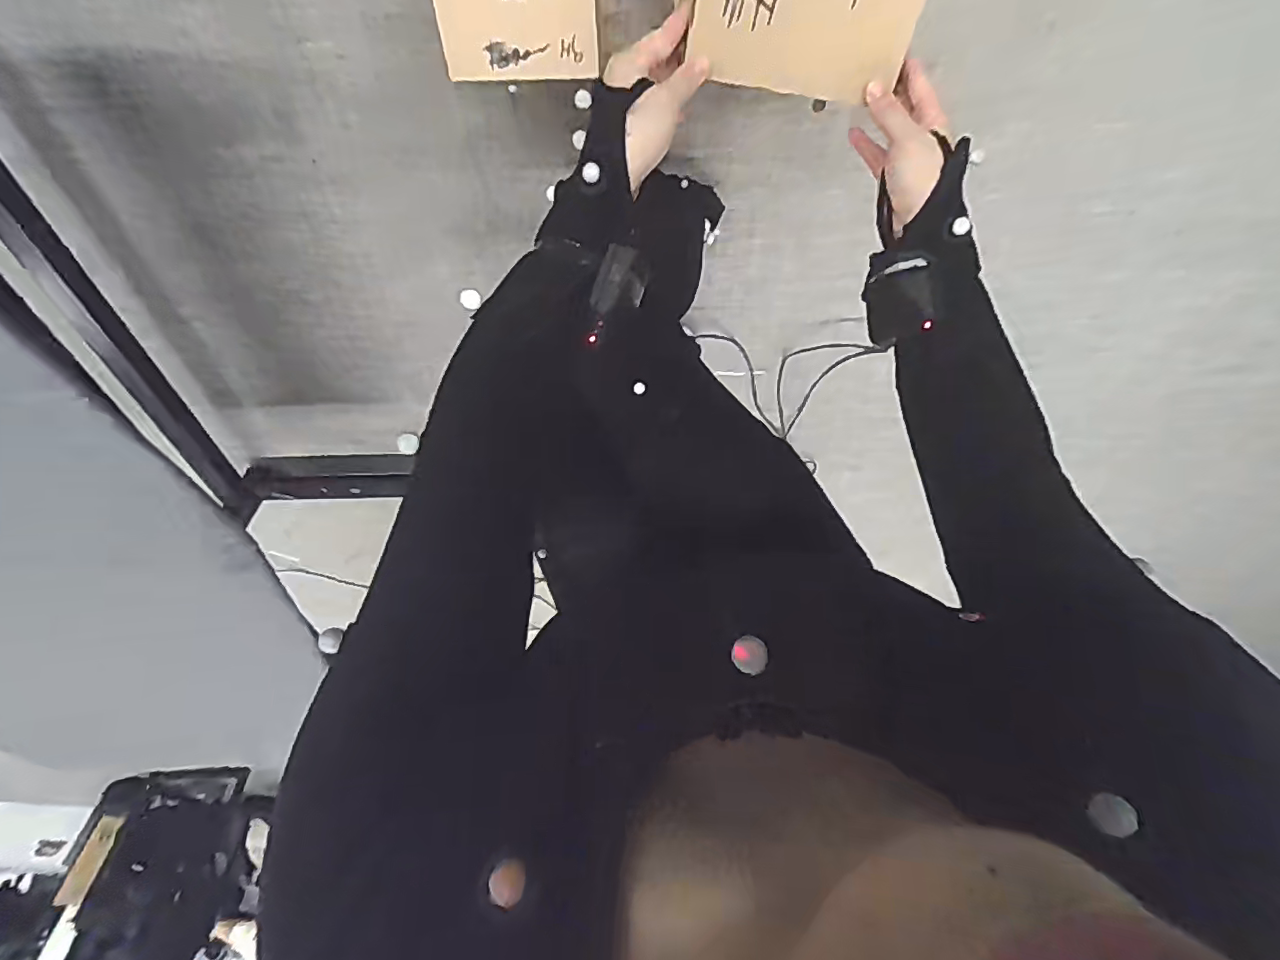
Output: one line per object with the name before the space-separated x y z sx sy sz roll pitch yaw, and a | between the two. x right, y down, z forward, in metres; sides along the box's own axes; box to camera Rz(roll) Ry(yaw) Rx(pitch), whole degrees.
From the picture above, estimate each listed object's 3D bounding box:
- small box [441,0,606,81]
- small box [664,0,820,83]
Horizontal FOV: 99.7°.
small box | -0.122 -0.554 0.583 0.168 0.176 0.179 -1 136 -2
small box | 0.135 -0.660 0.719 0.179 0.176 0.168 4 137 -7
